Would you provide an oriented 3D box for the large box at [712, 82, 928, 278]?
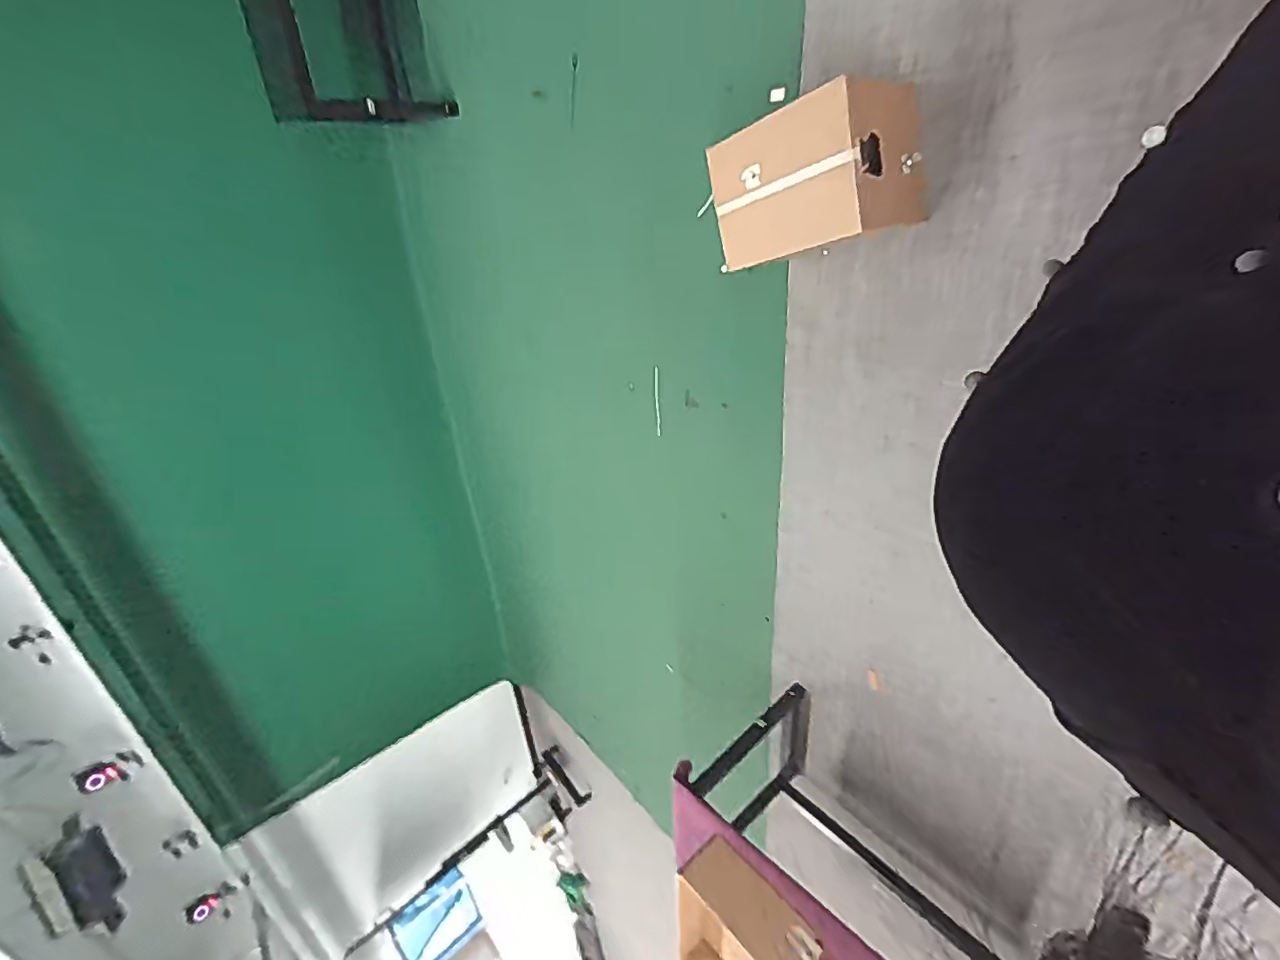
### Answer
[{"bbox_3d":[0.456,-0.741,1.385,0.408,0.320,0.320,7,114,52],"label":"large box"}]
